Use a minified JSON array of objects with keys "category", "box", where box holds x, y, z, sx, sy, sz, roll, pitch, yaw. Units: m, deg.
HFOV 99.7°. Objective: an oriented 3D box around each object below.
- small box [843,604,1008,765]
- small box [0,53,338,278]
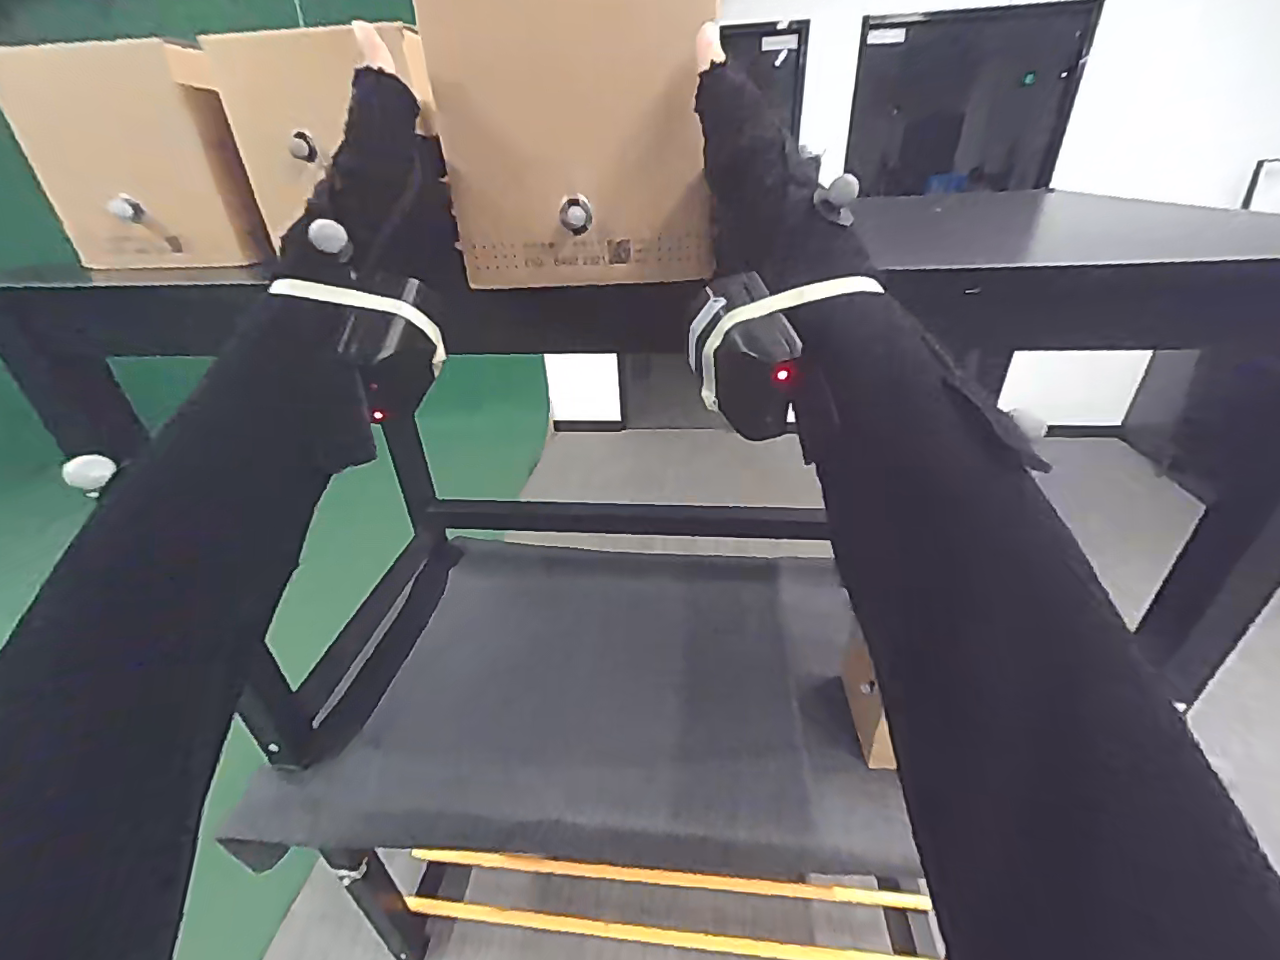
[{"category":"small box","box":[0.428,0.316,0.844,0.168,0.176,0.179,0,30,5]},{"category":"small box","box":[-0.437,-0.307,0.541,0.168,0.176,0.179,0,32,6]}]
